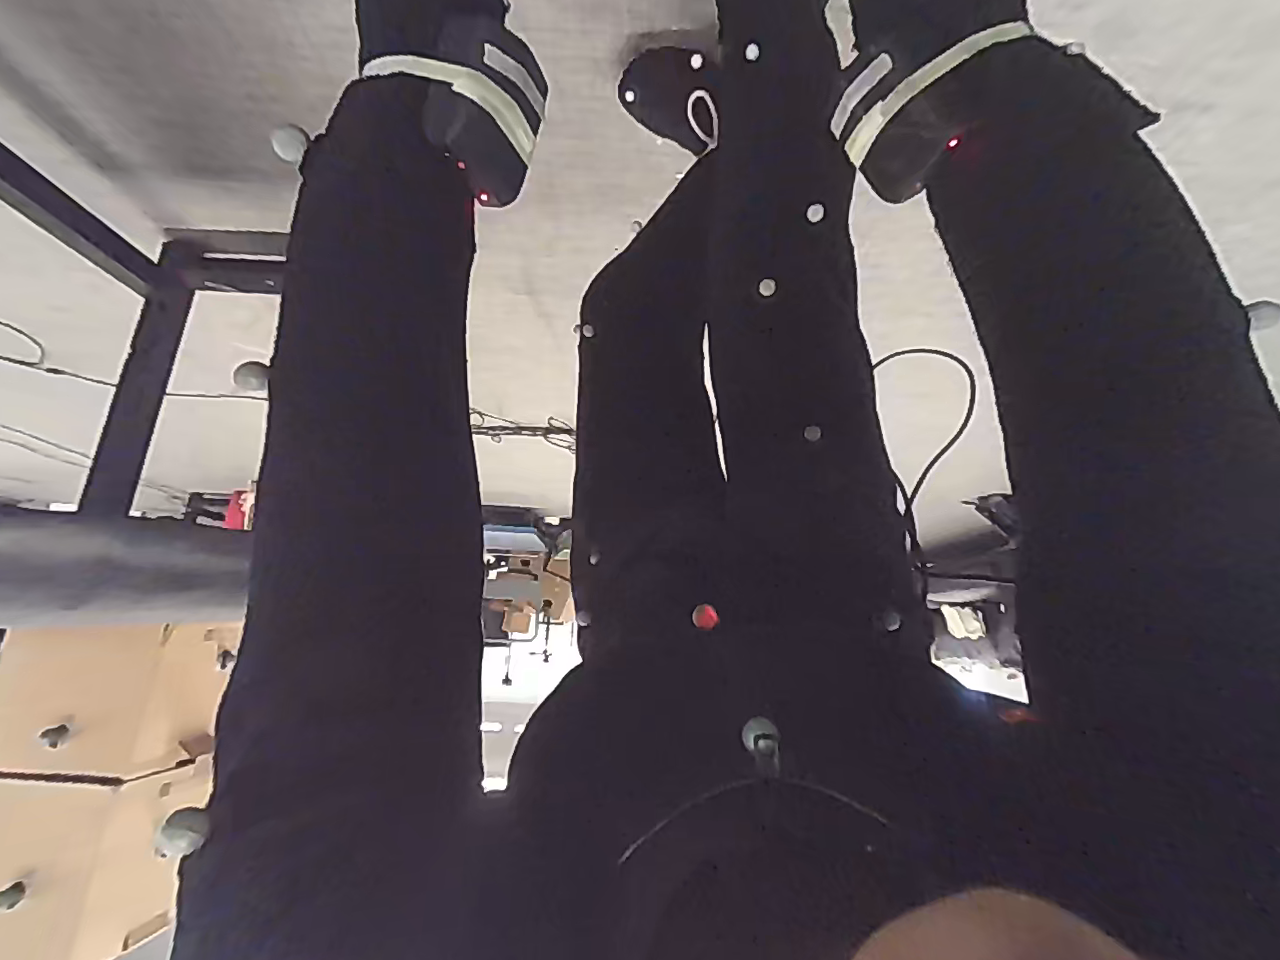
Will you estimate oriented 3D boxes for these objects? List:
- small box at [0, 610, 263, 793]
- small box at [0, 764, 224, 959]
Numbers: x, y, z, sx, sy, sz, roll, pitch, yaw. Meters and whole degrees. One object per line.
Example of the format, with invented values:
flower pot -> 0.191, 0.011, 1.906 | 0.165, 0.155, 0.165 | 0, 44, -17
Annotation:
small box -> -0.584, 0.242, 0.623 | 0.179, 0.176, 0.168 | 1, 164, 2
small box -> -0.588, 0.398, 0.574 | 0.179, 0.176, 0.168 | 0, 164, 3
